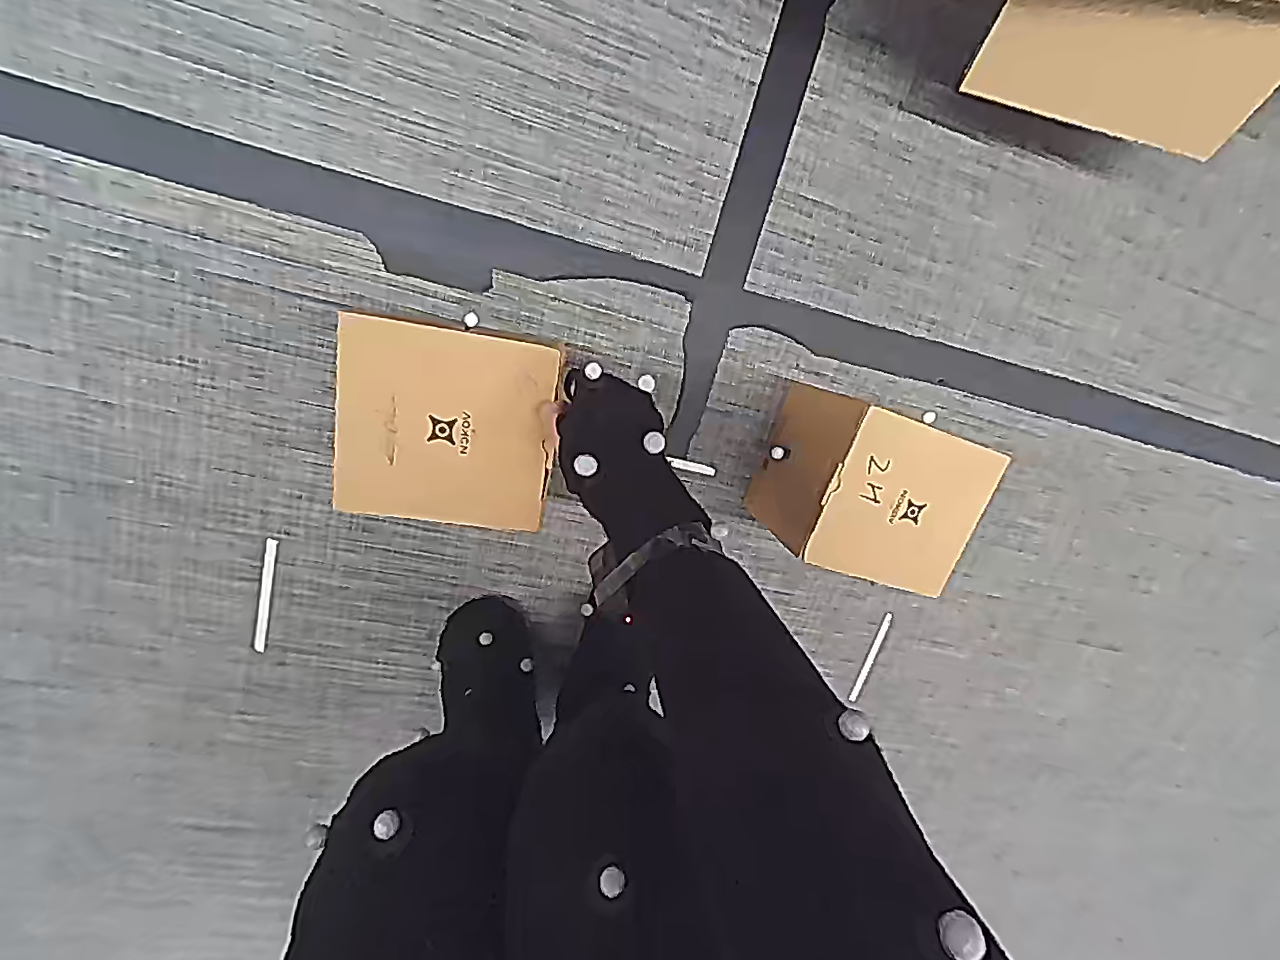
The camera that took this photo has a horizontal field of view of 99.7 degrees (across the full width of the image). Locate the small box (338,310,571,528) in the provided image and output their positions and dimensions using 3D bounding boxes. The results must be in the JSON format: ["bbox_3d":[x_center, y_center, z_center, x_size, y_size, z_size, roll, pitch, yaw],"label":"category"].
[{"bbox_3d":[-0.166,-0.066,0.523,0.179,0.176,0.168,7,105,-10],"label":"small box"}]

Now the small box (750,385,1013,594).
[{"bbox_3d":[0.253,0.001,0.610,0.179,0.176,0.168,17,104,-14],"label":"small box"}]
